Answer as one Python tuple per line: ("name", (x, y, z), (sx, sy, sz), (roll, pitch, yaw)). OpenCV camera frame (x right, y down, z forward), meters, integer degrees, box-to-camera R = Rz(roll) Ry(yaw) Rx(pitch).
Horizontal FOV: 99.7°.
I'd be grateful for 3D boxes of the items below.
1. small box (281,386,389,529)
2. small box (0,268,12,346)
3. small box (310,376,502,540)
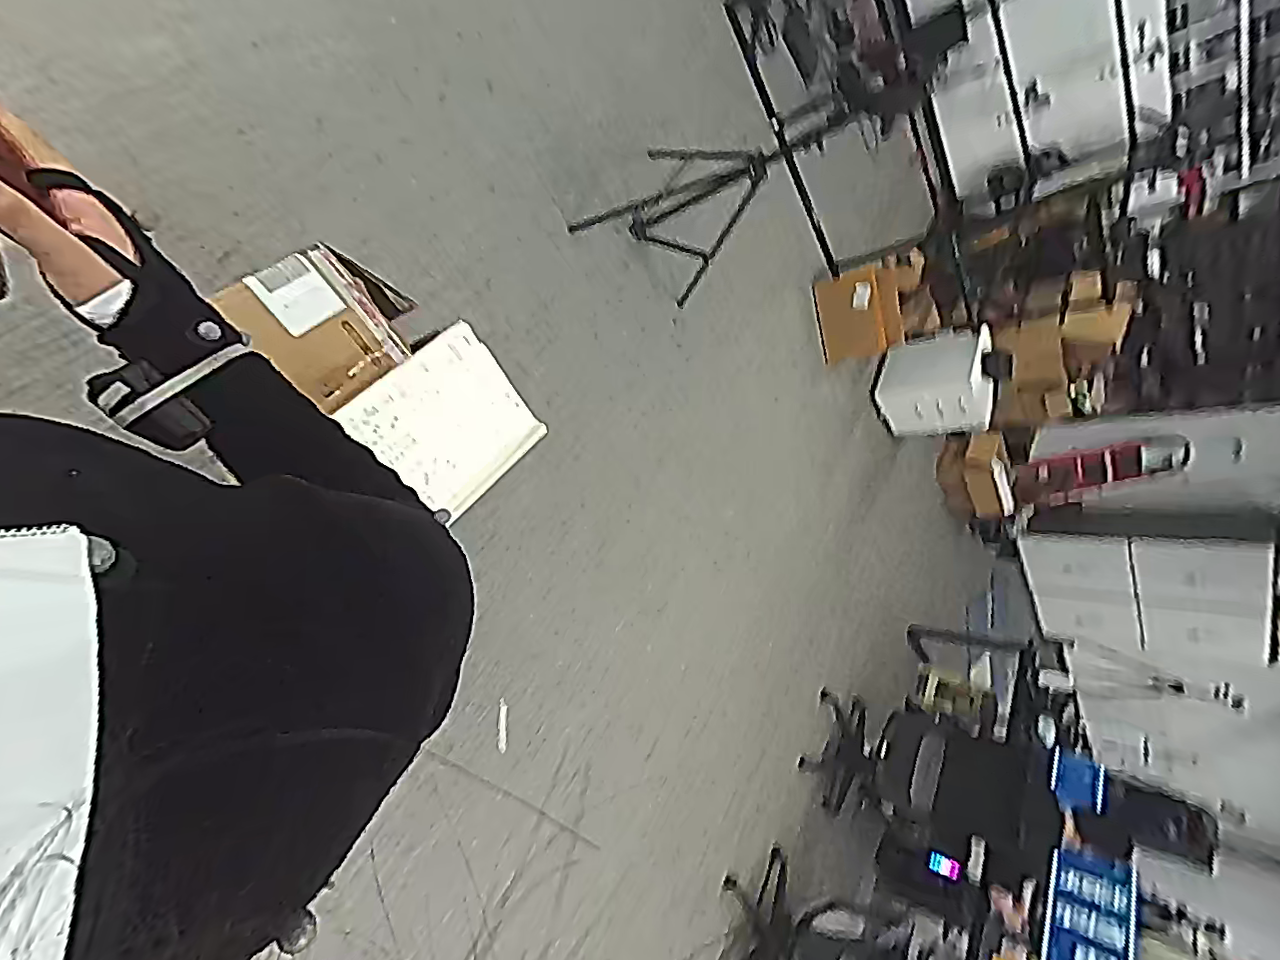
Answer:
("small box", (-0.468, -0.038, 0.927), (0.168, 0.176, 0.179), (-54, 124, -29))
("small box", (-0.489, -0.177, 0.297), (0.168, 0.176, 0.179), (-14, 97, -46))
("small box", (-0.351, -0.034, 0.811), (0.179, 0.176, 0.168), (-50, 123, -31))
